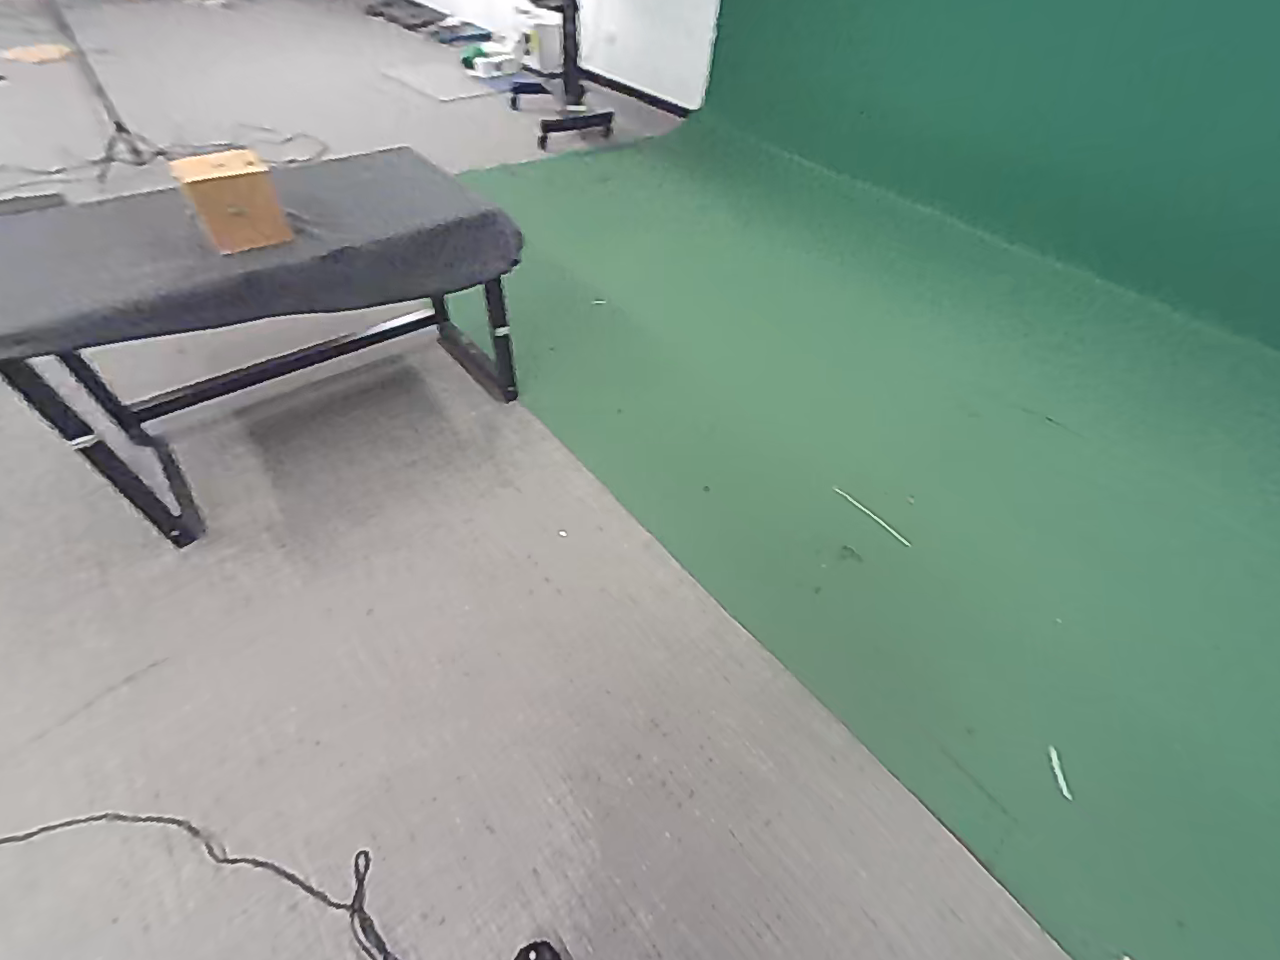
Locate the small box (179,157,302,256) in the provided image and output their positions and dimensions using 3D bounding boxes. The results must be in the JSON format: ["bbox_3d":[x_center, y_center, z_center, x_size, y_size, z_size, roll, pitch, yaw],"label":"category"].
[{"bbox_3d":[-0.991,-0.682,1.353,0.179,0.176,0.168,-31,56,-29],"label":"small box"}]
